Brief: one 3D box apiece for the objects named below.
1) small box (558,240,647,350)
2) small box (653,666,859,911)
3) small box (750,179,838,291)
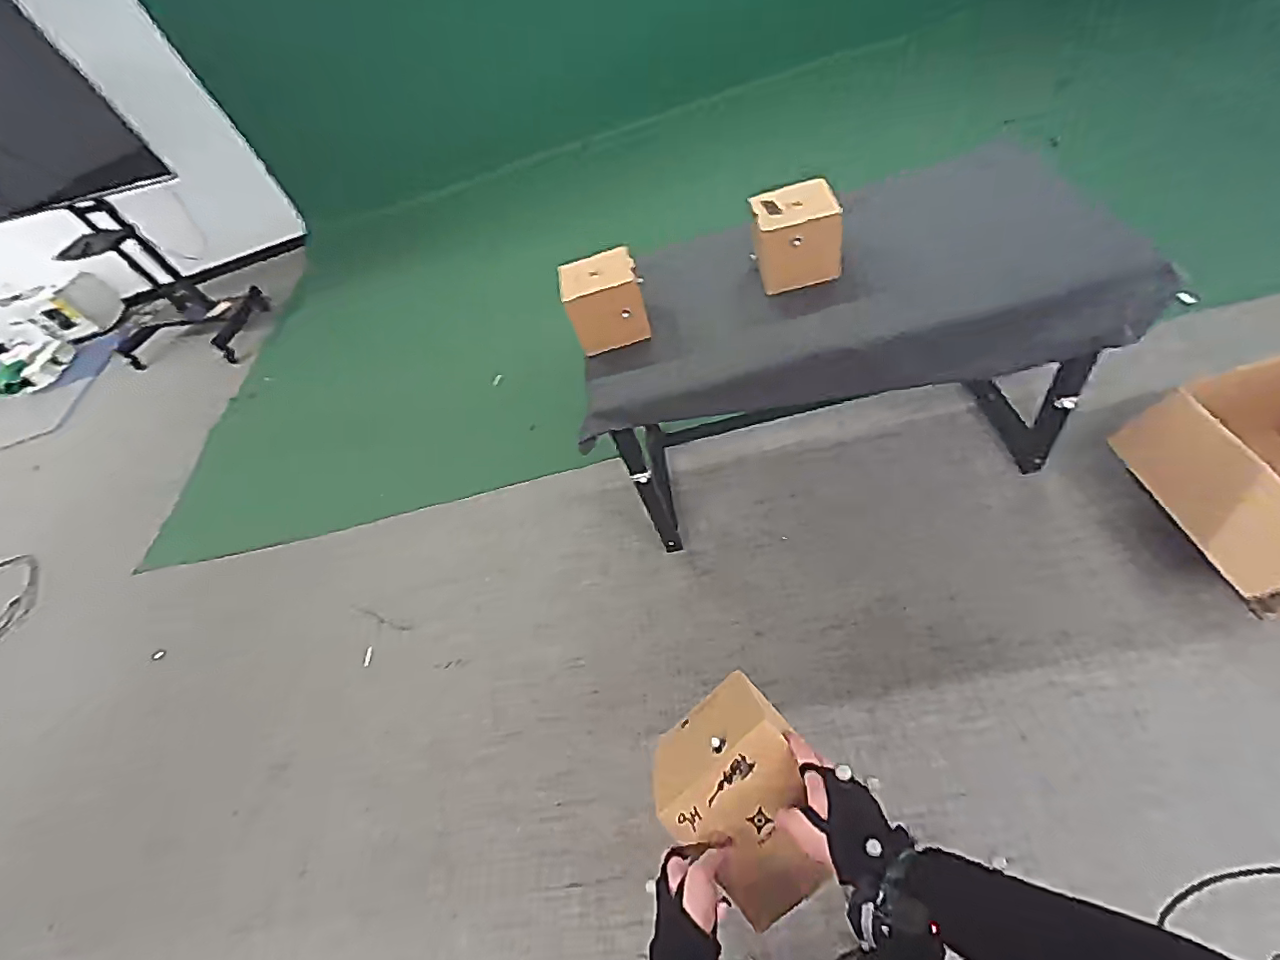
[{"bbox_3d":[-0.089,-0.452,1.336,0.179,0.176,0.168,-17,50,7],"label":"small box"},{"bbox_3d":[0.134,0.373,0.691,0.168,0.176,0.179,-44,89,0],"label":"small box"},{"bbox_3d":[0.369,-0.578,1.295,0.179,0.176,0.168,-8,54,13],"label":"small box"}]
